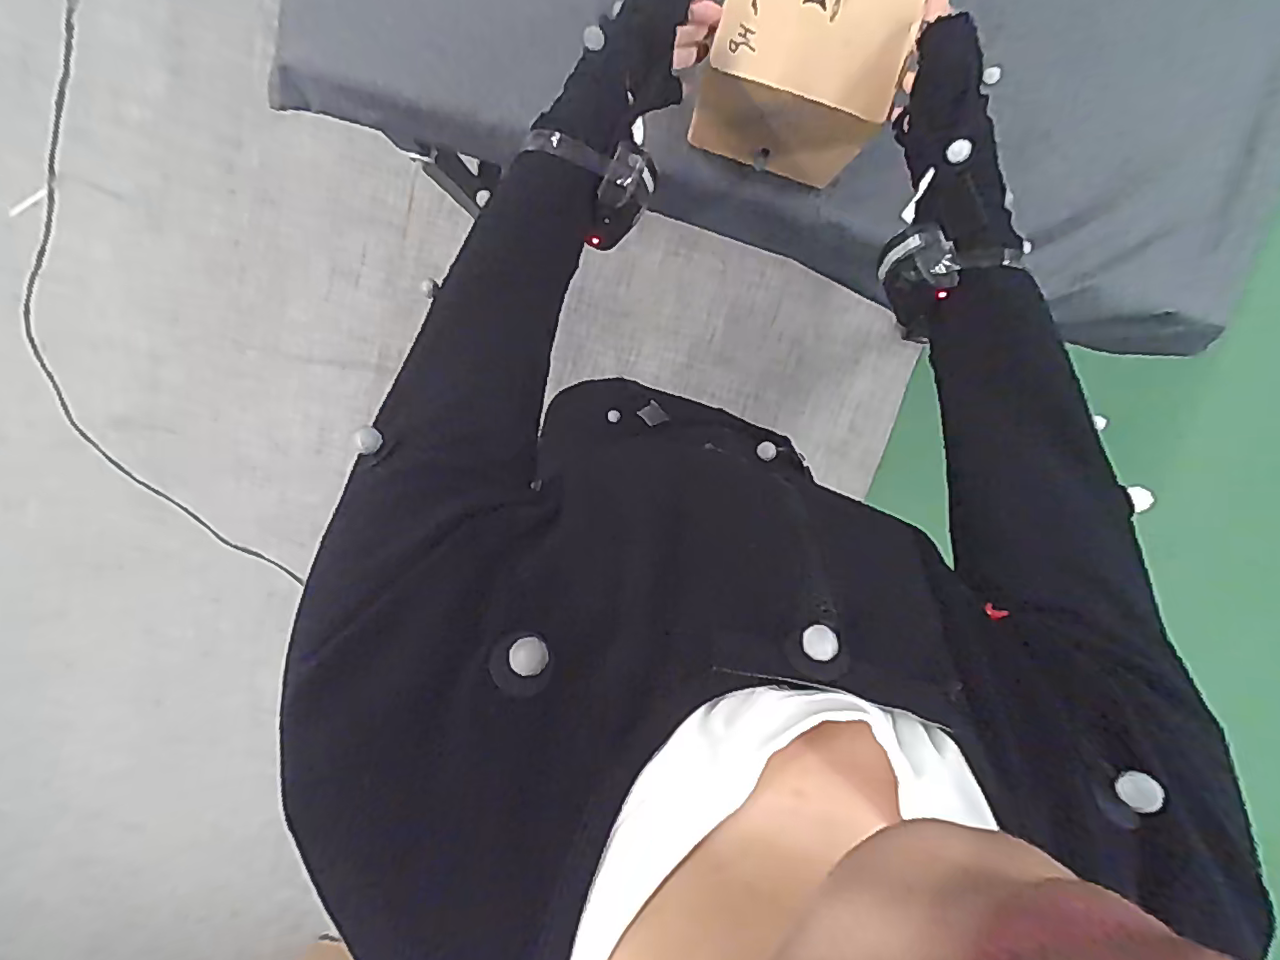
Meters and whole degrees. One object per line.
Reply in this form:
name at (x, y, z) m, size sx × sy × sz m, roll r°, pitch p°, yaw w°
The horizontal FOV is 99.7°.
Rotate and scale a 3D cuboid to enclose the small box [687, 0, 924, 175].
small box at (0.161, -0.445, 0.559) m, size 0.179 × 0.176 × 0.168 m, roll 16°, pitch 100°, yaw -5°
